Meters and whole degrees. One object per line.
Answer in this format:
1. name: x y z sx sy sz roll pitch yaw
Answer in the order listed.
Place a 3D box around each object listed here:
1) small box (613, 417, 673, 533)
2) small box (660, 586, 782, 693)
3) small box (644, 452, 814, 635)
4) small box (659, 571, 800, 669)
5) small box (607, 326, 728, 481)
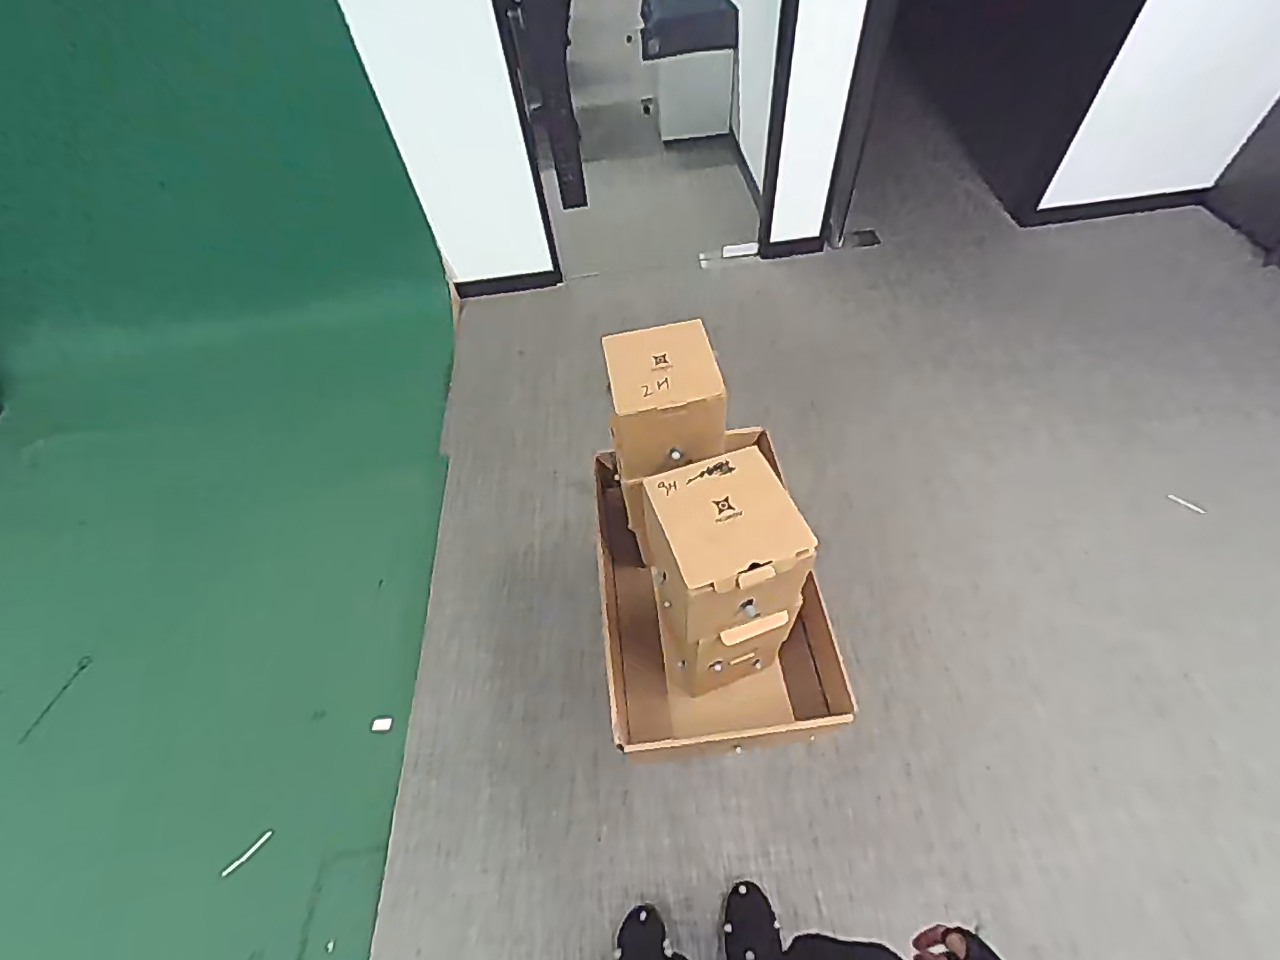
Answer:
1. small box: 0.054 -0.021 1.030 0.179 0.176 0.168 -12 55 -2
2. small box: 0.146 0.280 1.010 0.168 0.176 0.179 -18 54 -8
3. small box: 0.112 0.096 0.741 0.168 0.176 0.179 -16 55 -7
4. small box: 0.135 0.187 0.876 0.168 0.176 0.179 -18 54 -8
5. small box: 0.044 -0.124 0.901 0.168 0.176 0.179 -10 55 0
